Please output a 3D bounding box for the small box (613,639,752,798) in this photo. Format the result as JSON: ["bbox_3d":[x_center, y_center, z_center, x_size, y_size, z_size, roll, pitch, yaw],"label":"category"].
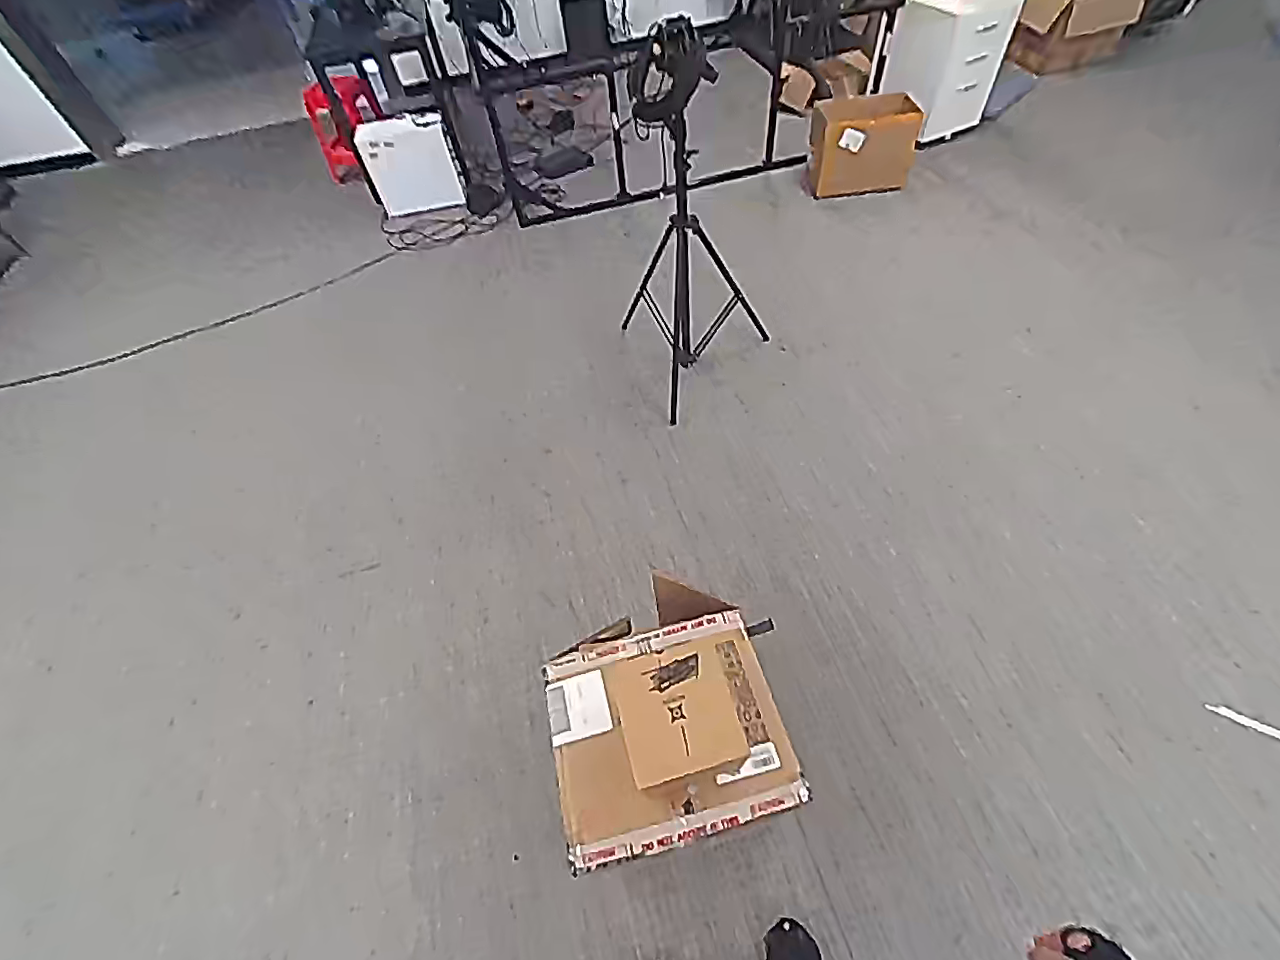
[{"bbox_3d":[0.061,0.378,0.851,0.168,0.176,0.179,-15,56,-5],"label":"small box"}]
